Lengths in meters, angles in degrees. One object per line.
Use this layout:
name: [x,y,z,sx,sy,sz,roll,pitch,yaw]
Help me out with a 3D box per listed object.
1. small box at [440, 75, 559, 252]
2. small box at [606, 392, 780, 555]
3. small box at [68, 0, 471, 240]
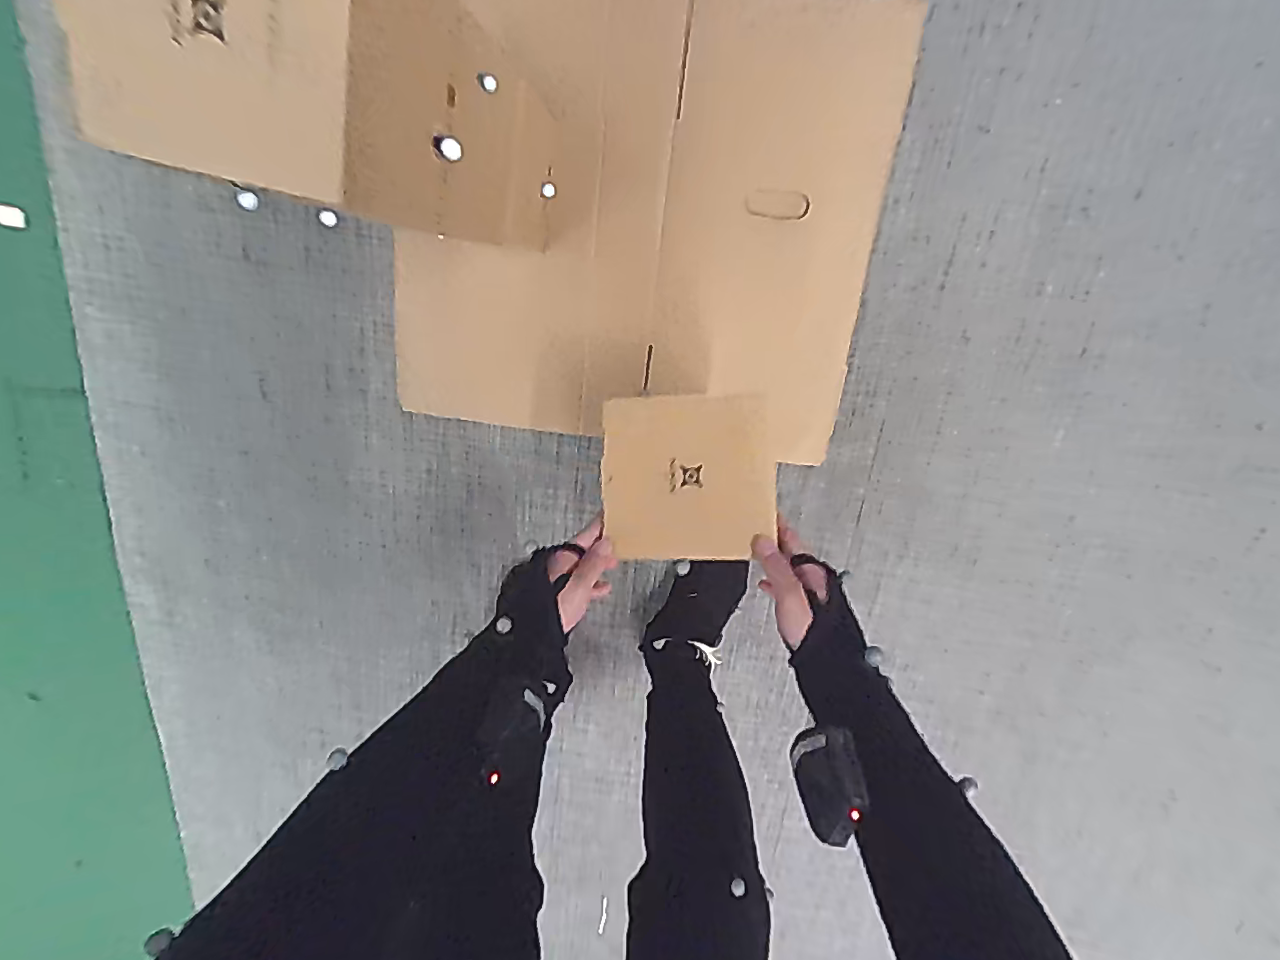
small box: [-0.217,-0.399,0.697,0.179,0.176,0.168,11,109,1]
small box: [0.064,-0.003,0.625,0.179,0.176,0.168,-1,86,10]
small box: [-0.245,-0.283,0.392,0.179,0.176,0.168,13,109,1]
